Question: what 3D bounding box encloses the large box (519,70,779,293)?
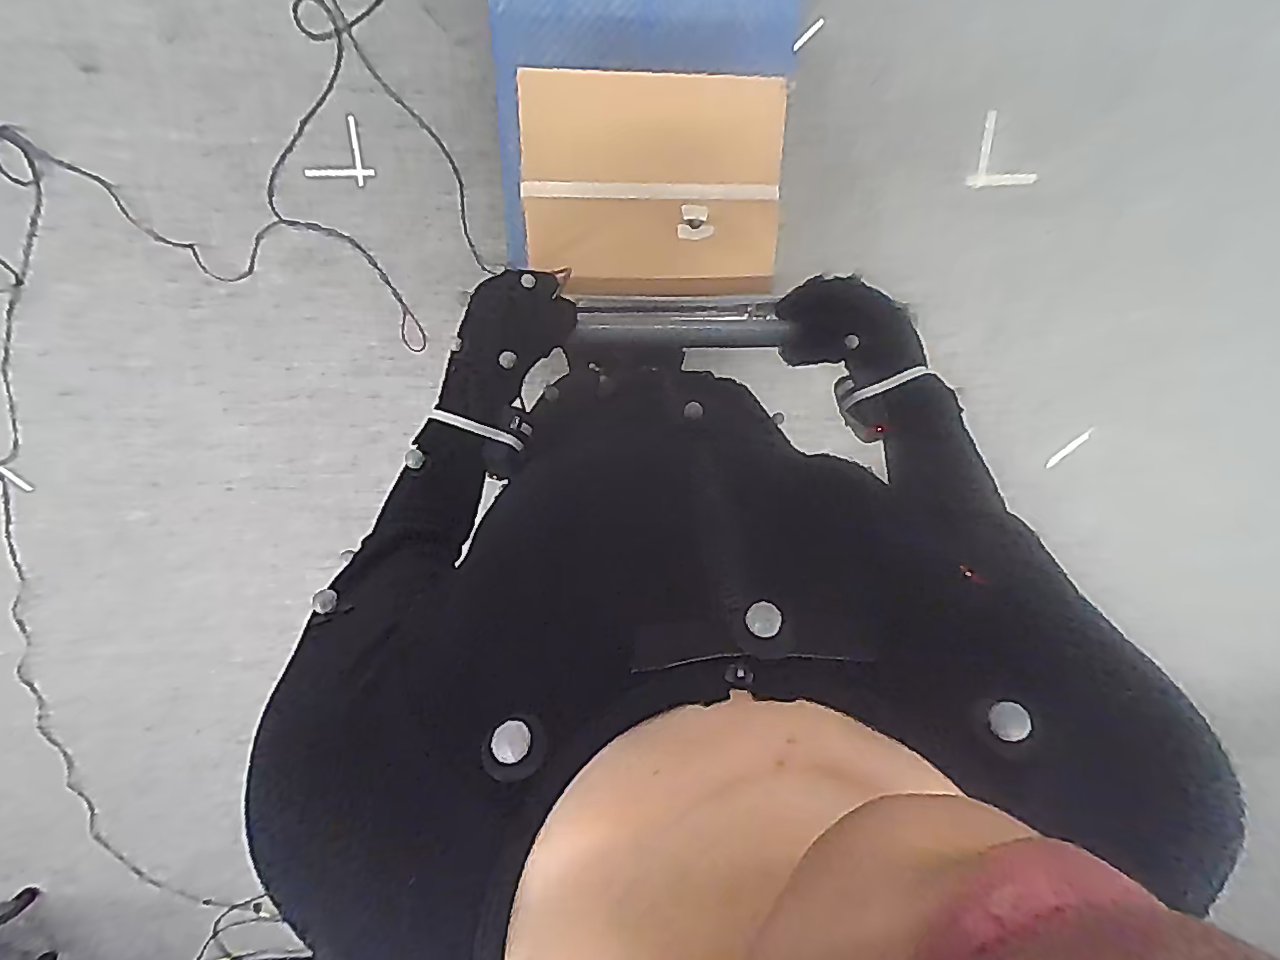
[{"bbox_3d":[0.004,-0.516,1.003,0.408,0.320,0.320,-2,110,-5],"label":"large box"}]
